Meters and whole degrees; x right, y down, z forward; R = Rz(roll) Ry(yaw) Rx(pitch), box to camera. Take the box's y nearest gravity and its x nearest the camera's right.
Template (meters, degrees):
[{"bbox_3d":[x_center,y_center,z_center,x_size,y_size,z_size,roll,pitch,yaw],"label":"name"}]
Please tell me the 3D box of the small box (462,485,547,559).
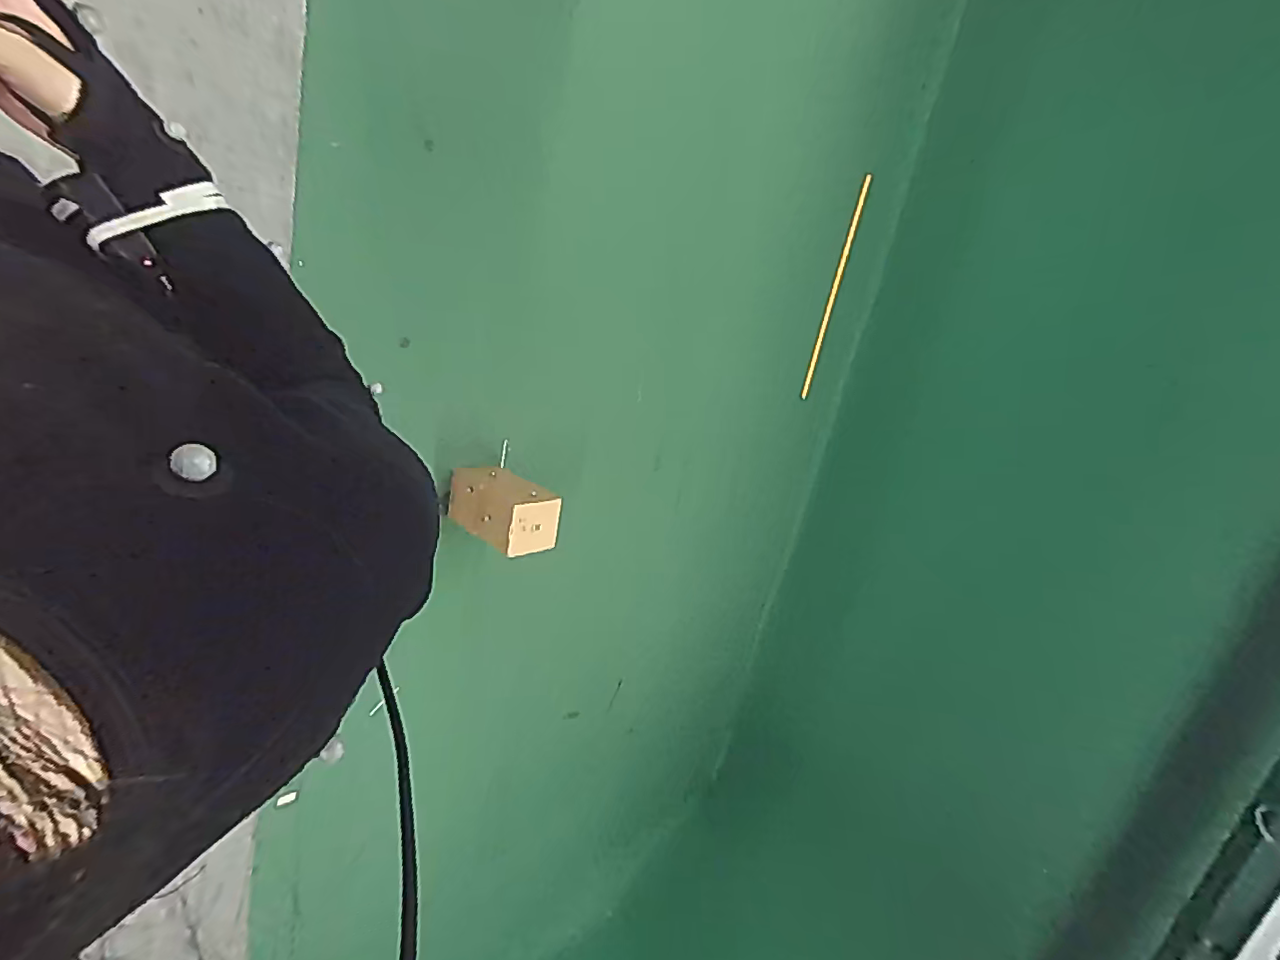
[{"bbox_3d":[-0.415,0.119,1.648,0.179,0.176,0.168,-6,114,-48],"label":"small box"}]
